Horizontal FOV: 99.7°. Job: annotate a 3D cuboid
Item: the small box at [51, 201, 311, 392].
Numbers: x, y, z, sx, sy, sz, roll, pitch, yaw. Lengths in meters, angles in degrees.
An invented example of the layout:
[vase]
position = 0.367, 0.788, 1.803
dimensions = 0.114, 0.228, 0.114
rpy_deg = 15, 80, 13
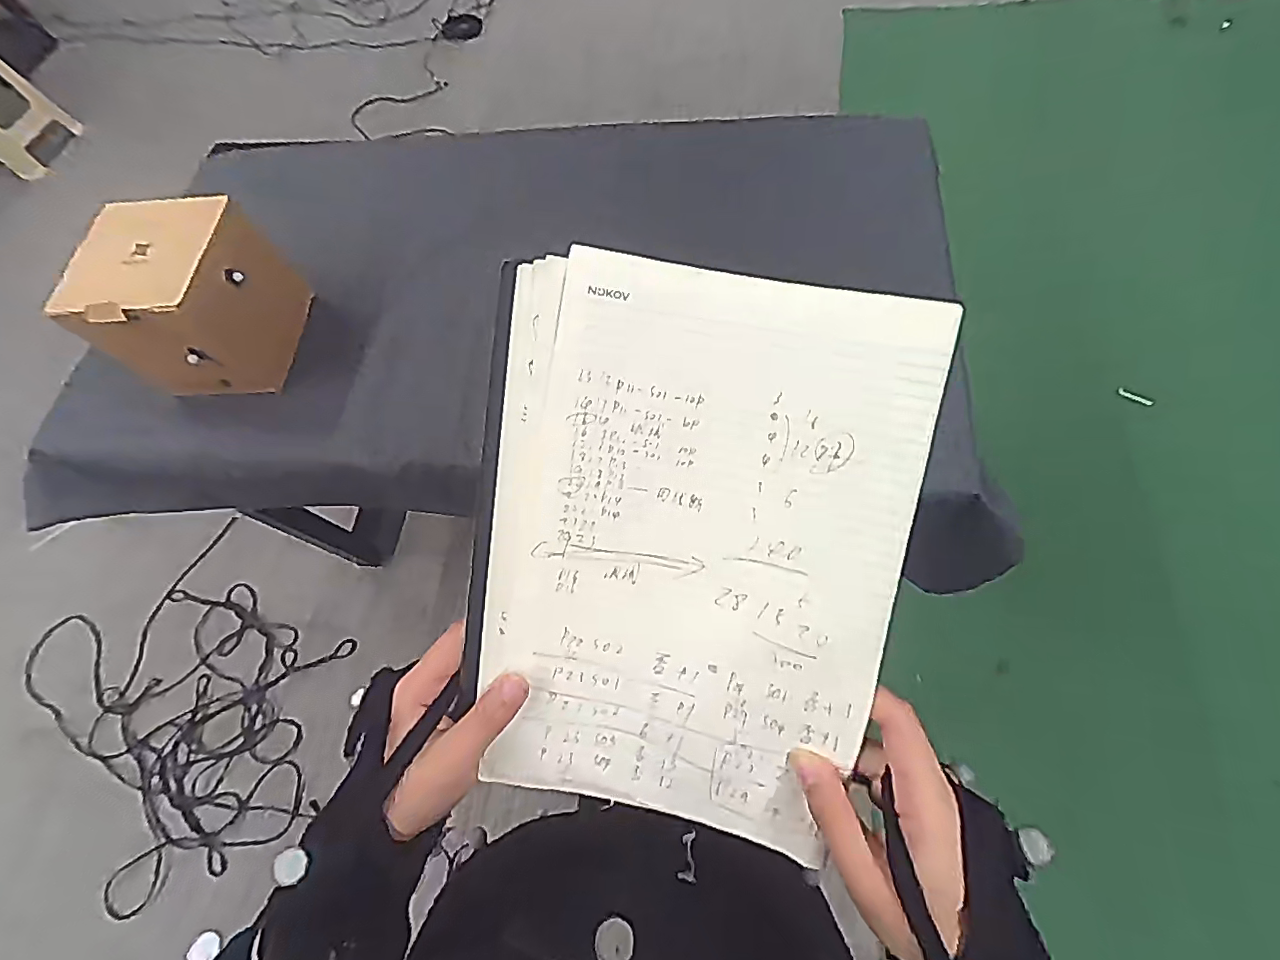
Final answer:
[small box]
position = -0.568, -0.226, 0.702
dimensions = 0.168, 0.176, 0.179
rpy_deg = -1, 65, 5
